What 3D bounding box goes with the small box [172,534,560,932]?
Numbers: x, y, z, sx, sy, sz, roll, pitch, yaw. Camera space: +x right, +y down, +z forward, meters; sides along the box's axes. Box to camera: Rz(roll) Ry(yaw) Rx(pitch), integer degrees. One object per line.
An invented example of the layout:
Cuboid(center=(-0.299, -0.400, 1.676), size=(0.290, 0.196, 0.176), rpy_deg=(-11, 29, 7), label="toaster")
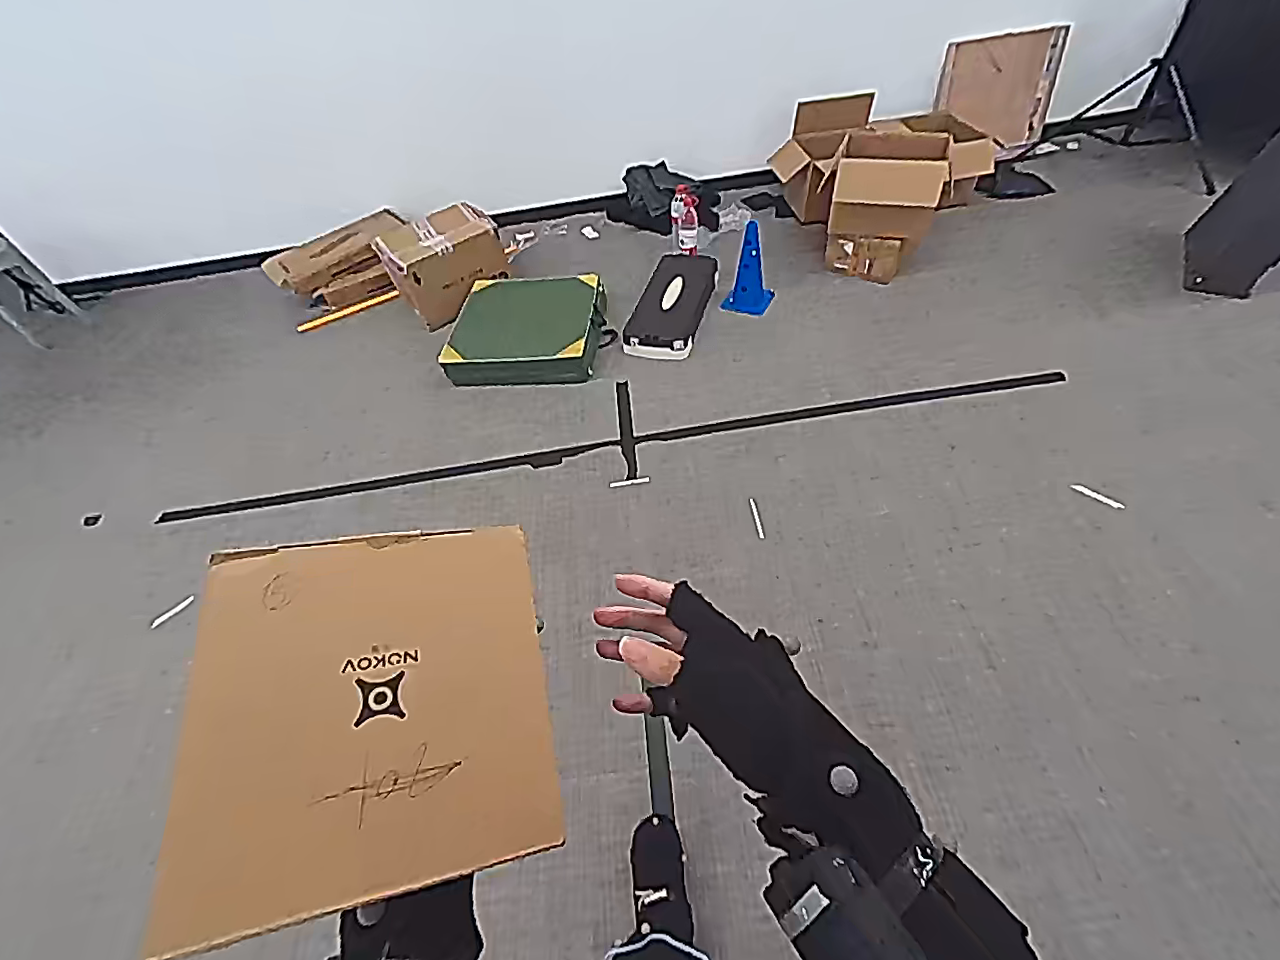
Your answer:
Cuboid(center=(-0.156, 0.154, 0.355), size=(0.168, 0.176, 0.179), rpy_deg=(-3, 60, -20), label="small box")
